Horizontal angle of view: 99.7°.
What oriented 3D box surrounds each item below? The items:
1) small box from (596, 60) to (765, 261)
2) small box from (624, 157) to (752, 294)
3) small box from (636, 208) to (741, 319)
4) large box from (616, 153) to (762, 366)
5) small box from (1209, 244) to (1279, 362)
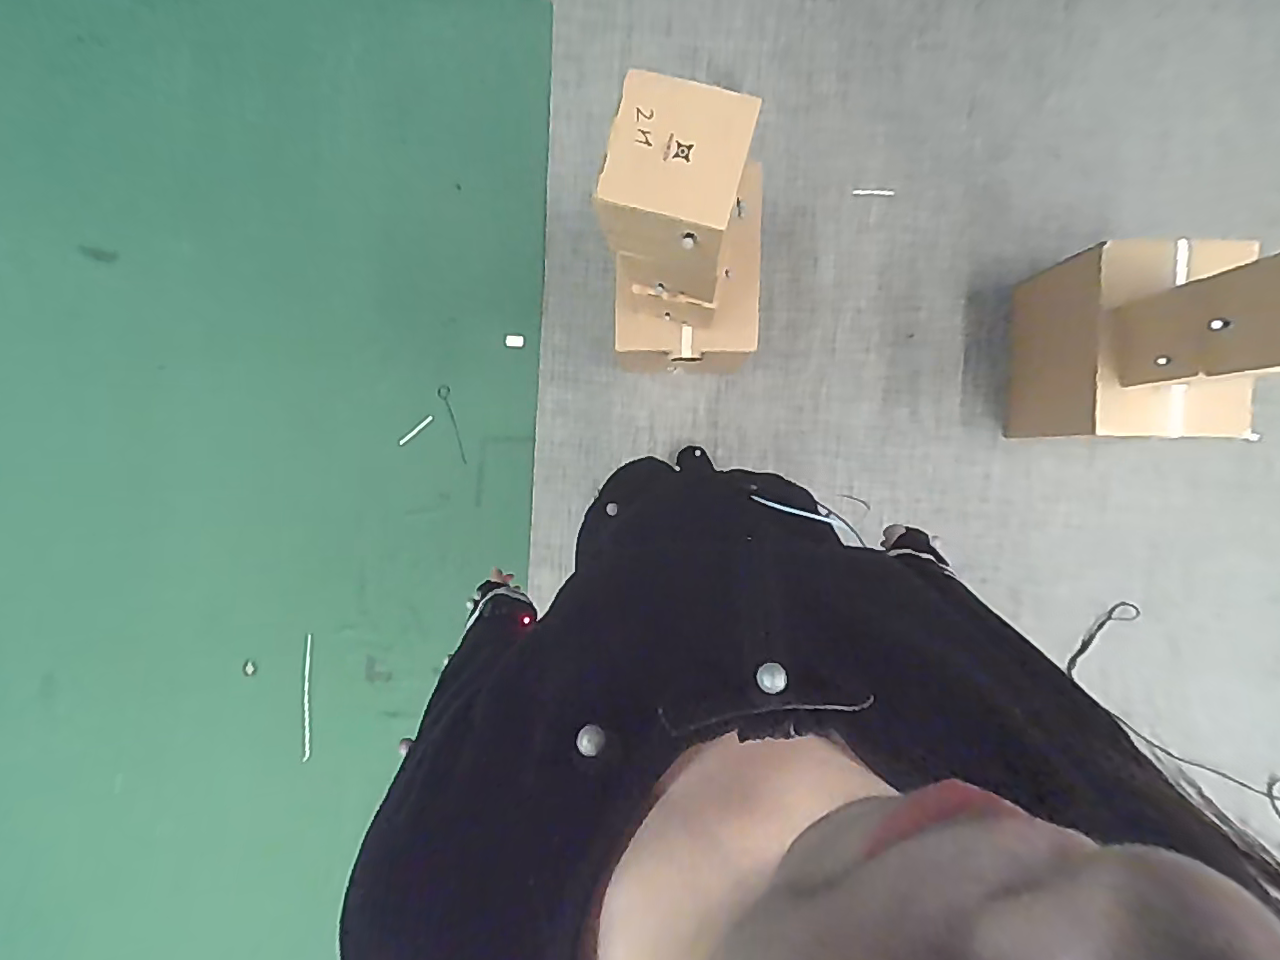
[{"bbox_3d":[0.055,-0.424,0.750,0.179,0.176,0.168,16,94,4],"label":"small box"},{"bbox_3d":[0.077,-0.438,0.912,0.168,0.176,0.179,15,96,4],"label":"small box"},{"bbox_3d":[0.093,-0.438,1.075,0.168,0.176,0.179,12,95,3],"label":"small box"},{"bbox_3d":[0.117,-0.503,1.313,0.320,0.320,0.408,1,93,4],"label":"large box"},{"bbox_3d":[1.069,-0.288,0.857,0.168,0.176,0.179,-7,94,5],"label":"small box"}]
